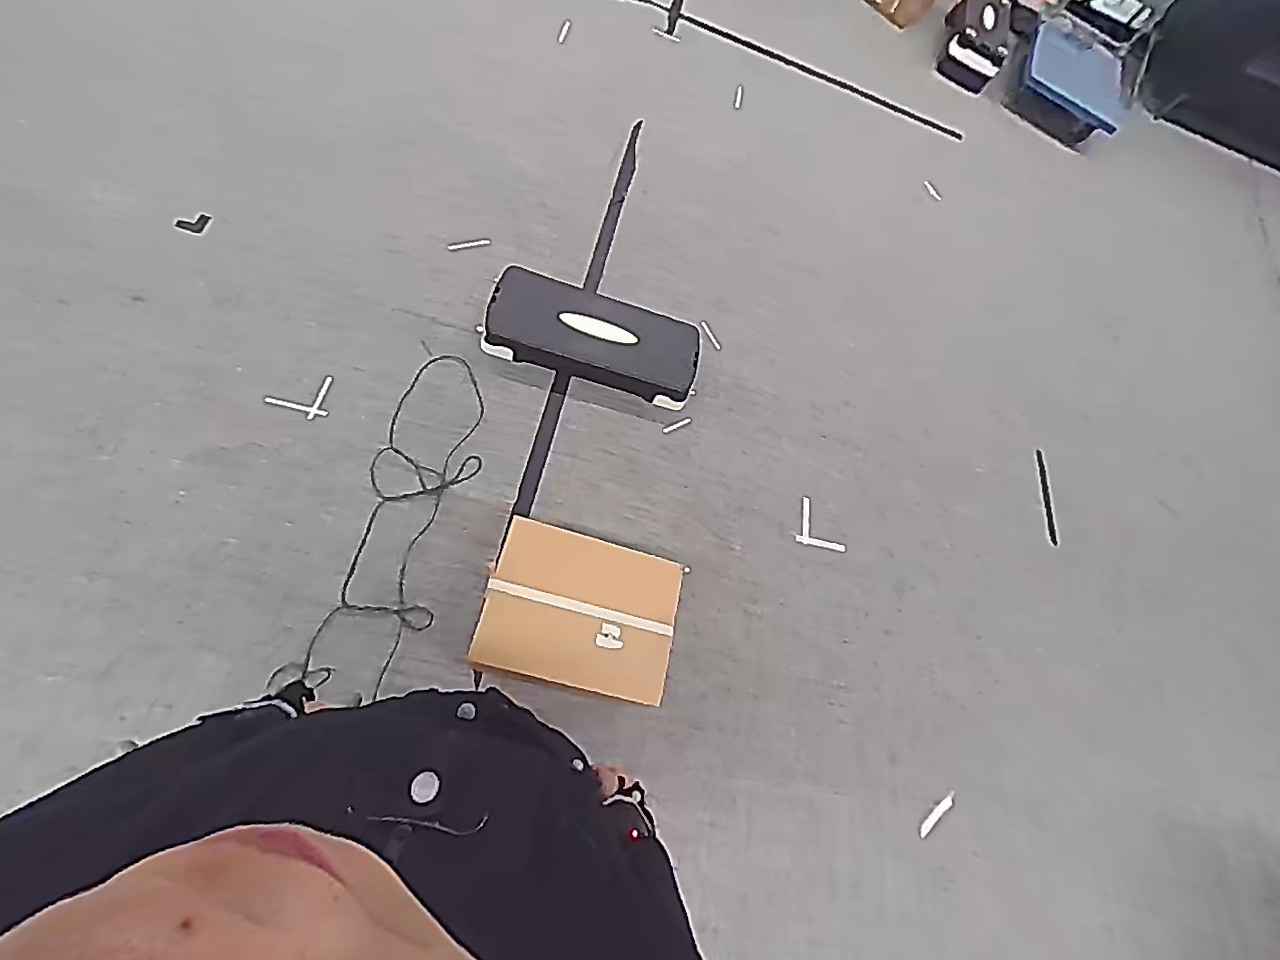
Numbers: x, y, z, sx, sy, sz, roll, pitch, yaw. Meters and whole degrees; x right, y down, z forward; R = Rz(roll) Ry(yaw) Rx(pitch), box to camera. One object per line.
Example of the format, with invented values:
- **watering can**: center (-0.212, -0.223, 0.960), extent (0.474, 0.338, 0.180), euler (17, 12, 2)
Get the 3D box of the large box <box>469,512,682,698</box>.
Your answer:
- **large box**: center (-0.160, 0.312, 1.274), extent (0.408, 0.320, 0.320), euler (18, 66, -10)
